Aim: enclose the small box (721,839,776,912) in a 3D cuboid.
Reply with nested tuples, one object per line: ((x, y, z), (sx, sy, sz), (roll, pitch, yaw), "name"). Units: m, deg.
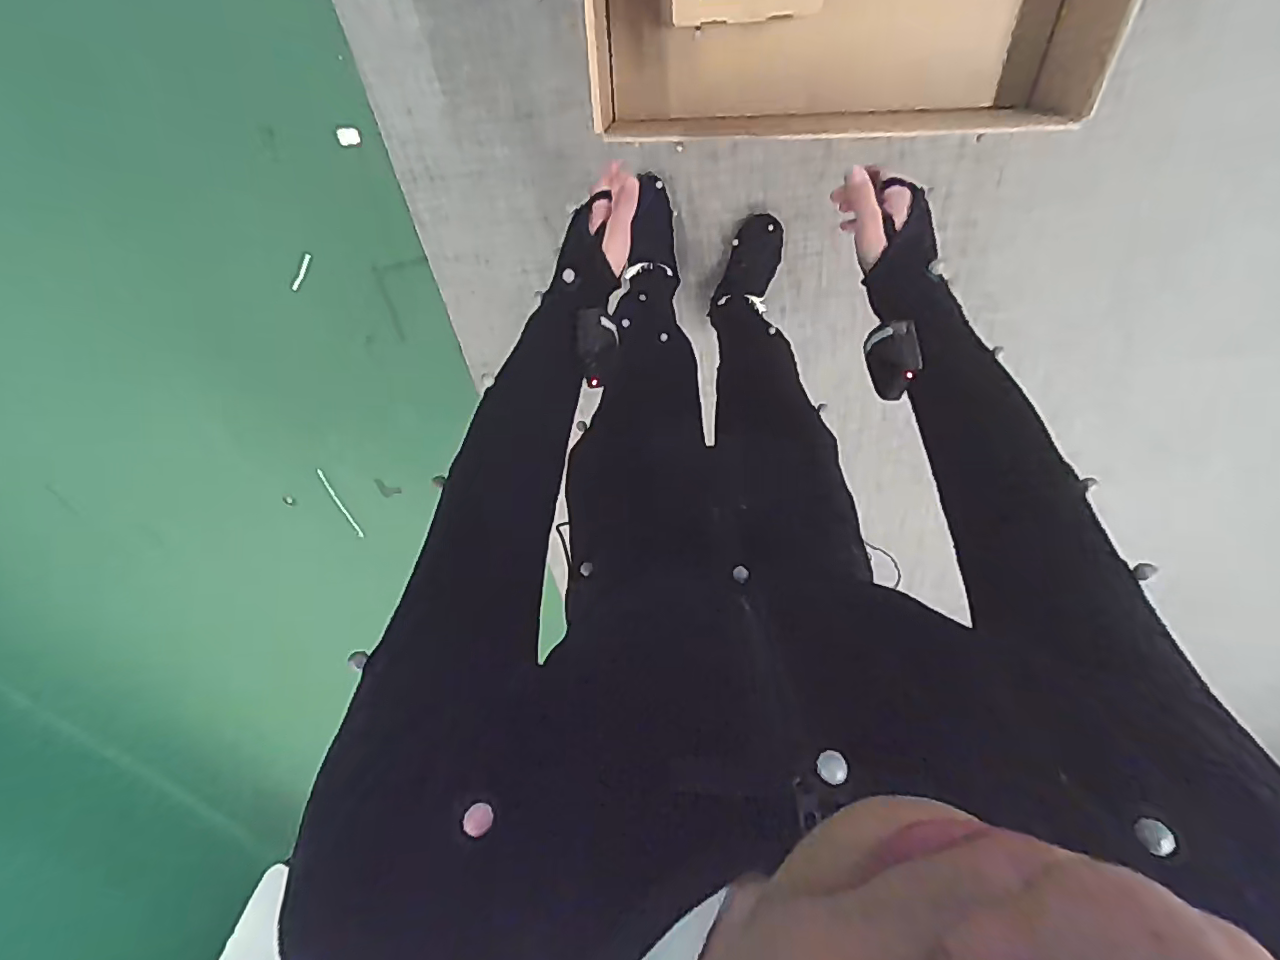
((0.368, 1.352, 1.849), (0.168, 0.176, 0.179), (-4, 131, 7), "small box")
